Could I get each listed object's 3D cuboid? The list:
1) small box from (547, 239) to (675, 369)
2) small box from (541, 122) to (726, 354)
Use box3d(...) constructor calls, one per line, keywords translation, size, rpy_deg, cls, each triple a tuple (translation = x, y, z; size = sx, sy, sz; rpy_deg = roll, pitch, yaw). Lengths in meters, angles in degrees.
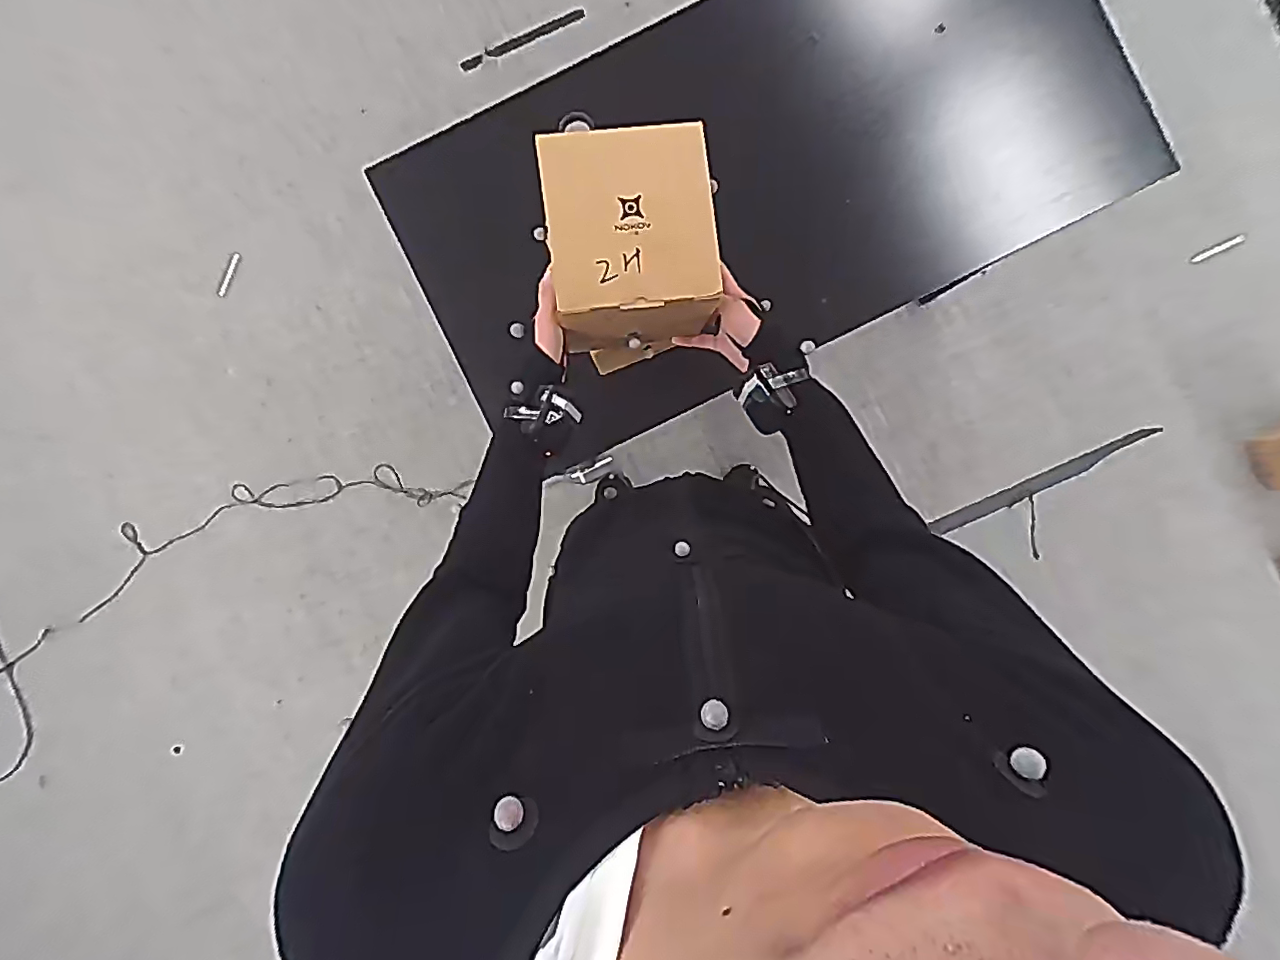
box3d(translation=(-0.021, -0.279, 0.819), size=(0.168, 0.176, 0.179), rpy_deg=(-22, 91, 1), cls="small box")
box3d(translation=(-0.012, -0.252, 0.597), size=(0.168, 0.176, 0.179), rpy_deg=(-7, 90, -4), cls="small box")
